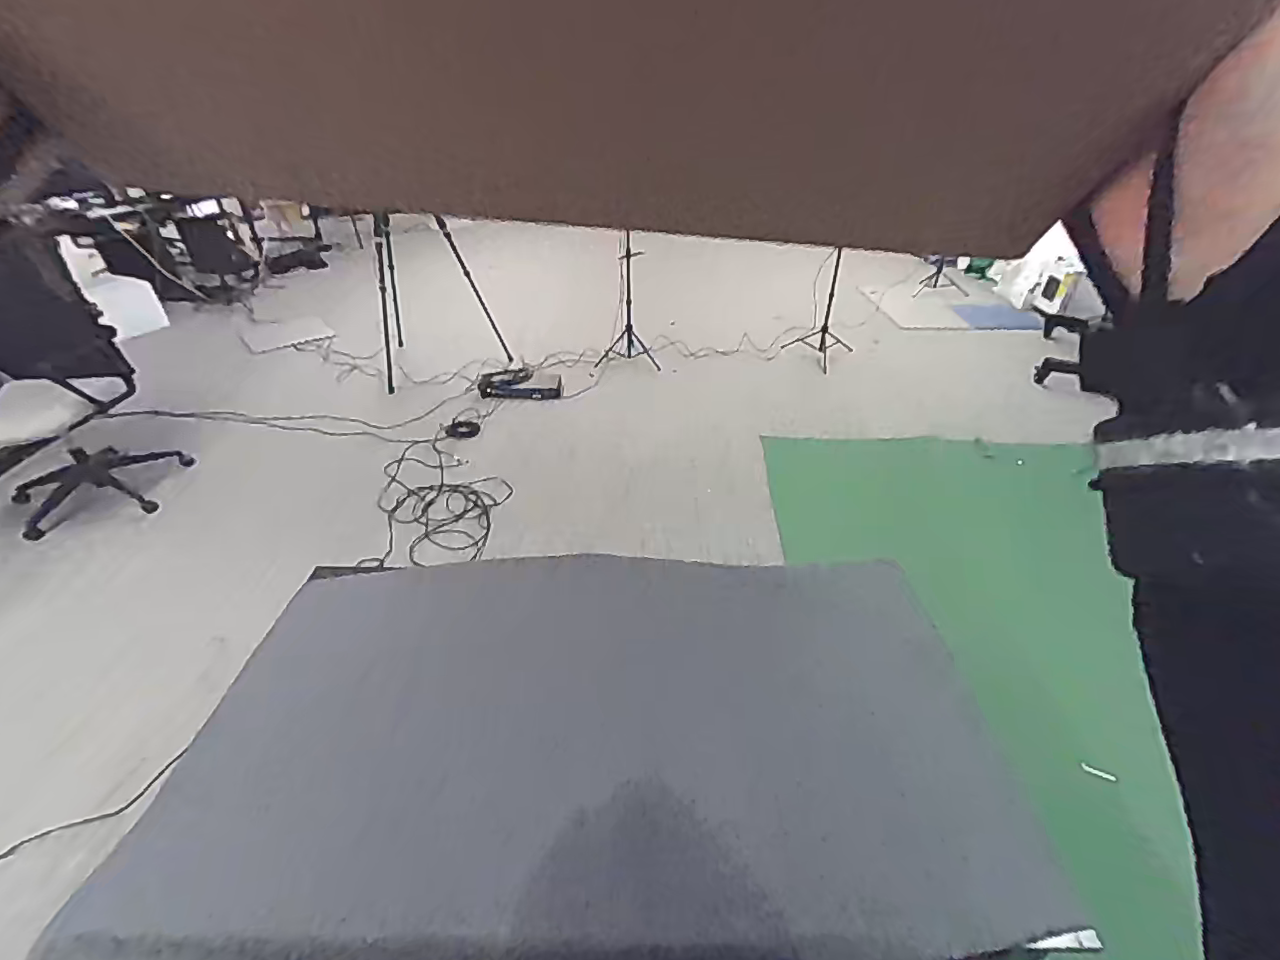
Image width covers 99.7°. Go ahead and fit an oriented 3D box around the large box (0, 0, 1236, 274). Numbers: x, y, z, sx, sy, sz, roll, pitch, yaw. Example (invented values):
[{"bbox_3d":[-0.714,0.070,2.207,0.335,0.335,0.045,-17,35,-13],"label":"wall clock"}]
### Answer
[{"bbox_3d":[-0.017,-0.296,0.168,0.408,0.320,0.320,3,71,-3],"label":"large box"}]
